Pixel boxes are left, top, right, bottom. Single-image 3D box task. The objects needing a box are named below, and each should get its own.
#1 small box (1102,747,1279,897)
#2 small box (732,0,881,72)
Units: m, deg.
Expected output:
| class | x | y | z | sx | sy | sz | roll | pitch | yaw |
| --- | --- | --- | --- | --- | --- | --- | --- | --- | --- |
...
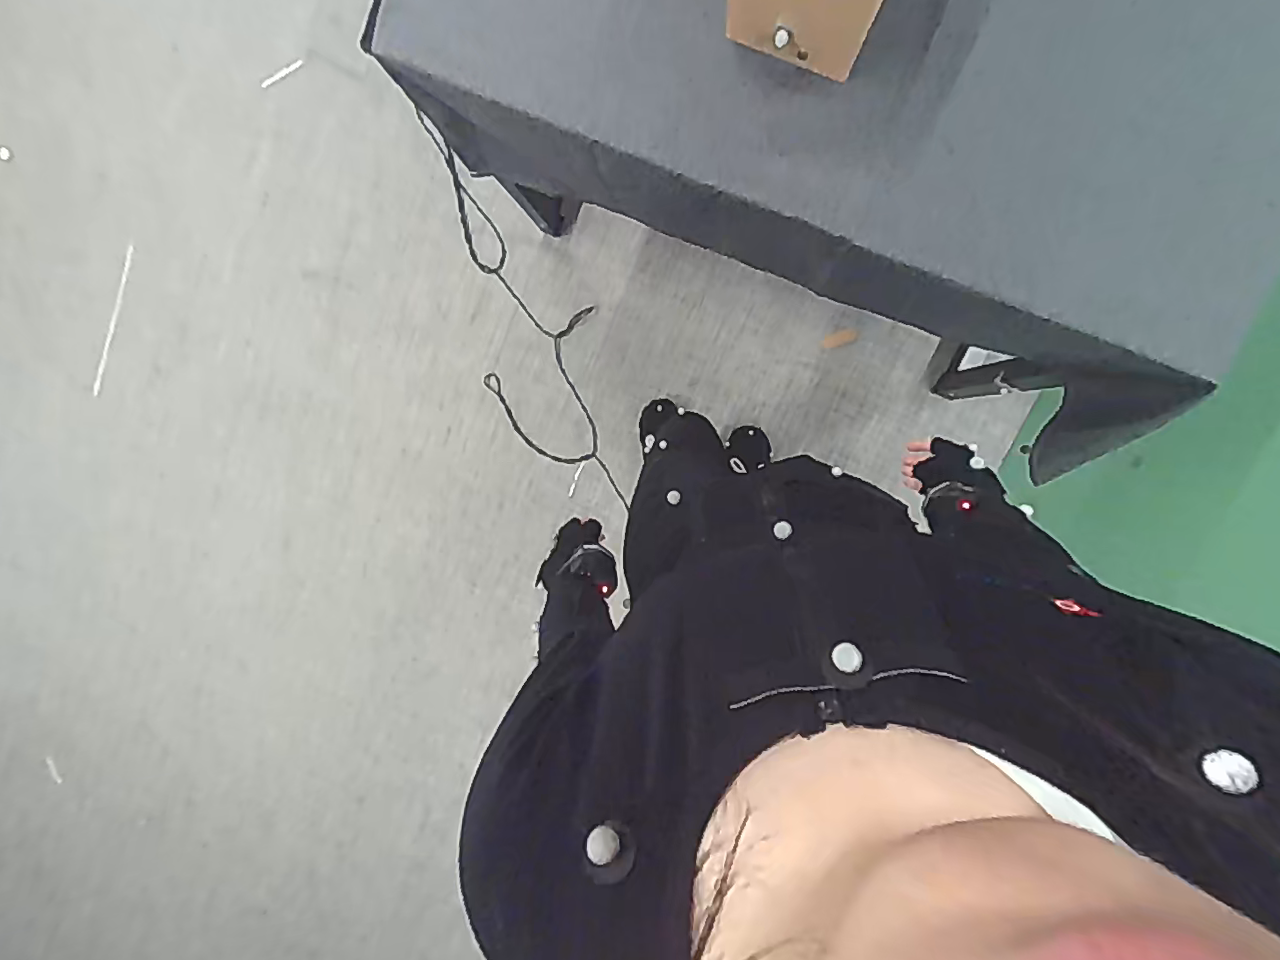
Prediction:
| class | x | y | z | sx | sy | sz | roll | pitch | yaw |
| --- | --- | --- | --- | --- | --- | --- | --- | --- | --- |
| small box | 1.159 | 0.717 | 1.157 | 0.168 | 0.176 | 0.179 | 28 | 98 | 4 |
| small box | 0.206 | -0.607 | 0.588 | 0.168 | 0.176 | 0.179 | 25 | 98 | 5 |
